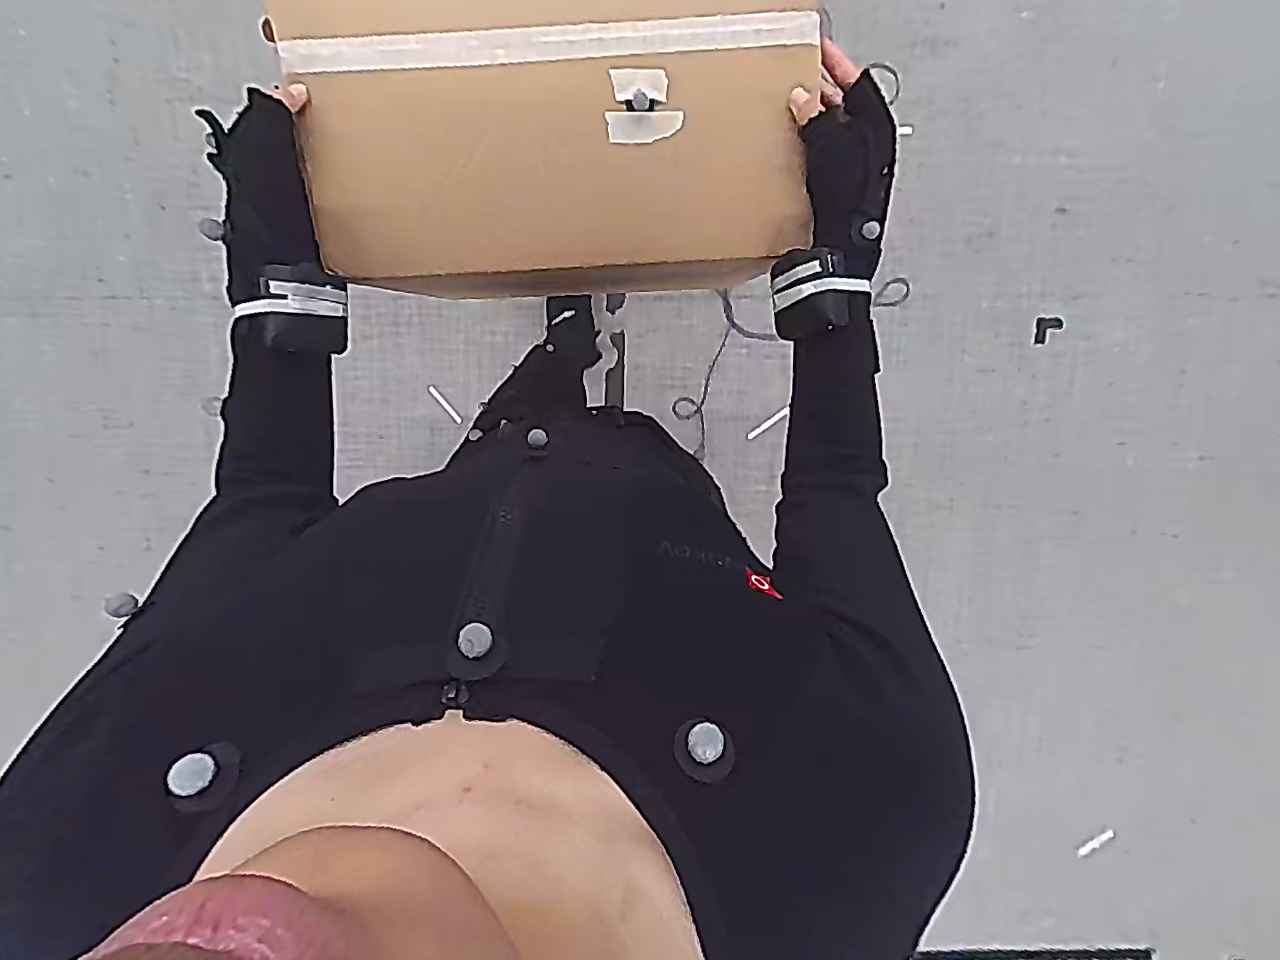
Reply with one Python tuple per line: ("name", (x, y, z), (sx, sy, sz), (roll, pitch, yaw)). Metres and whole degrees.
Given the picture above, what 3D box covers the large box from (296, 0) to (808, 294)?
("large box", (-0.069, -0.381, 0.569), (0.408, 0.320, 0.320), (-4, 106, -1))
